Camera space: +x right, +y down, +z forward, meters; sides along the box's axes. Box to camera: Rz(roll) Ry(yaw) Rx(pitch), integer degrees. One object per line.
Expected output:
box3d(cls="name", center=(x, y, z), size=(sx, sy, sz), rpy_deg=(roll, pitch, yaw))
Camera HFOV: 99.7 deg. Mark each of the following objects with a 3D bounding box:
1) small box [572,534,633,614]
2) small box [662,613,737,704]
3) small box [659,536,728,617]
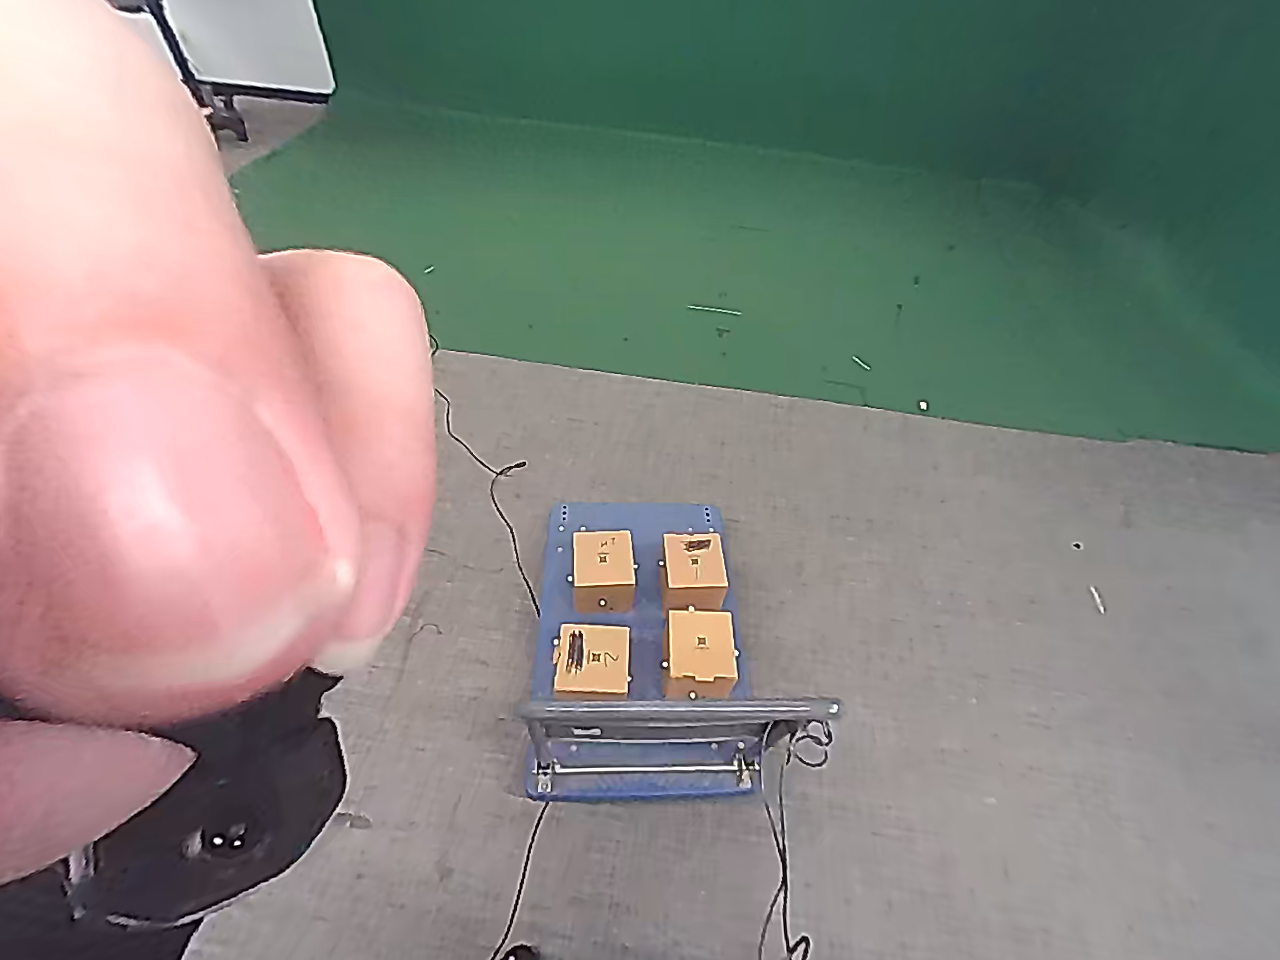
box3d(cls="small box", center=(-0.108, 0.274, 1.552), size=(0.168, 0.176, 0.179), rpy_deg=(-1, 50, -6))
box3d(cls="small box", center=(0.148, 0.467, 1.412), size=(0.168, 0.176, 0.179), rpy_deg=(3, 50, -3))
box3d(cls="small box", center=(0.148, 0.281, 1.566), size=(0.168, 0.176, 0.179), rpy_deg=(-1, 51, -4))
